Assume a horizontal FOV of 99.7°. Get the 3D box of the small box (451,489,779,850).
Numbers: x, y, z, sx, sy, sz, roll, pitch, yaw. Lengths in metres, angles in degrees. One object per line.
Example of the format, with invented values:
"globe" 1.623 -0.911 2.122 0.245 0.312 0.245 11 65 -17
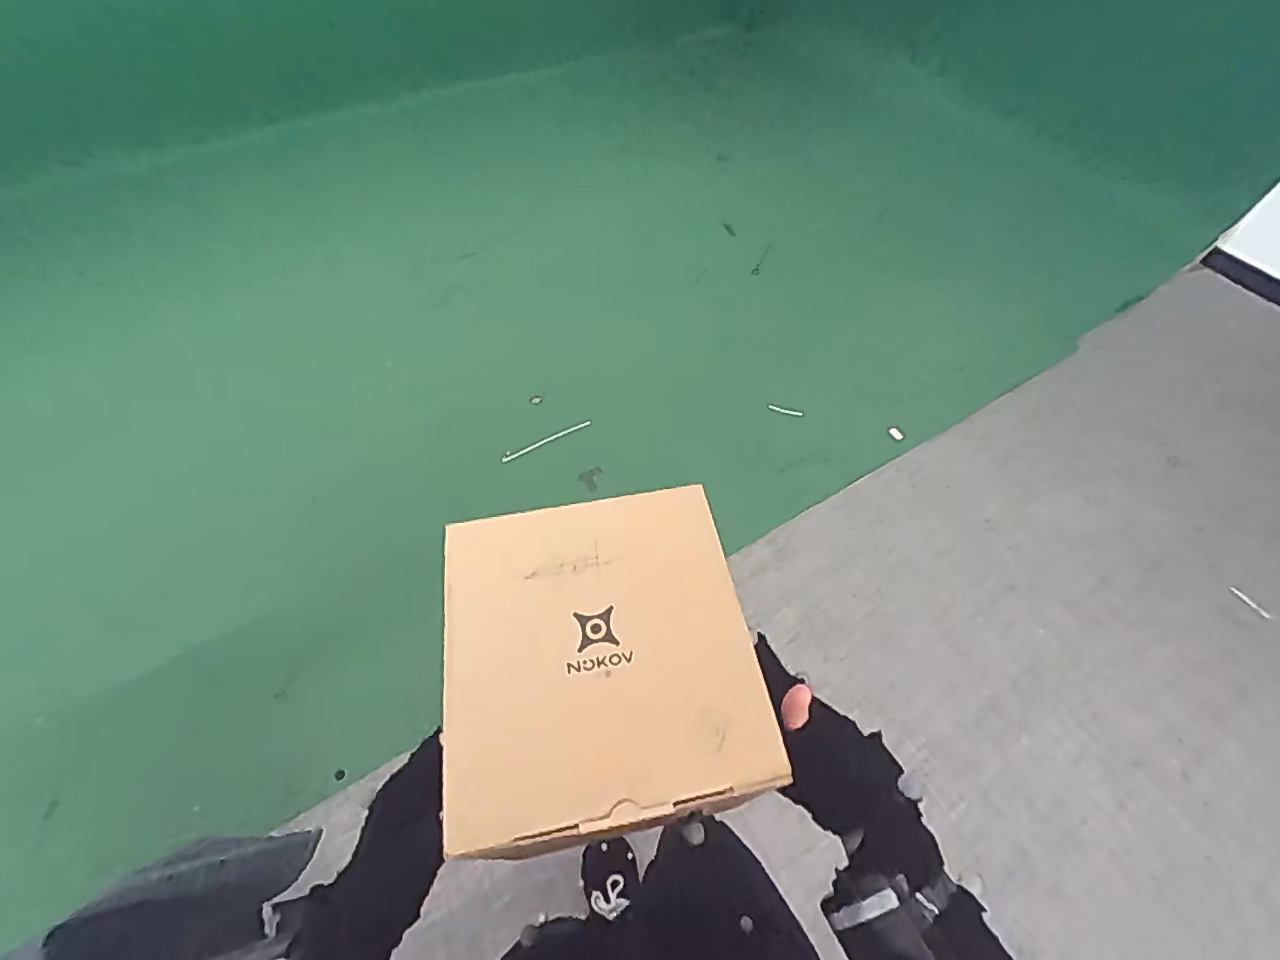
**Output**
"small box" -0.023 0.133 0.372 0.168 0.176 0.179 -9 56 -6
